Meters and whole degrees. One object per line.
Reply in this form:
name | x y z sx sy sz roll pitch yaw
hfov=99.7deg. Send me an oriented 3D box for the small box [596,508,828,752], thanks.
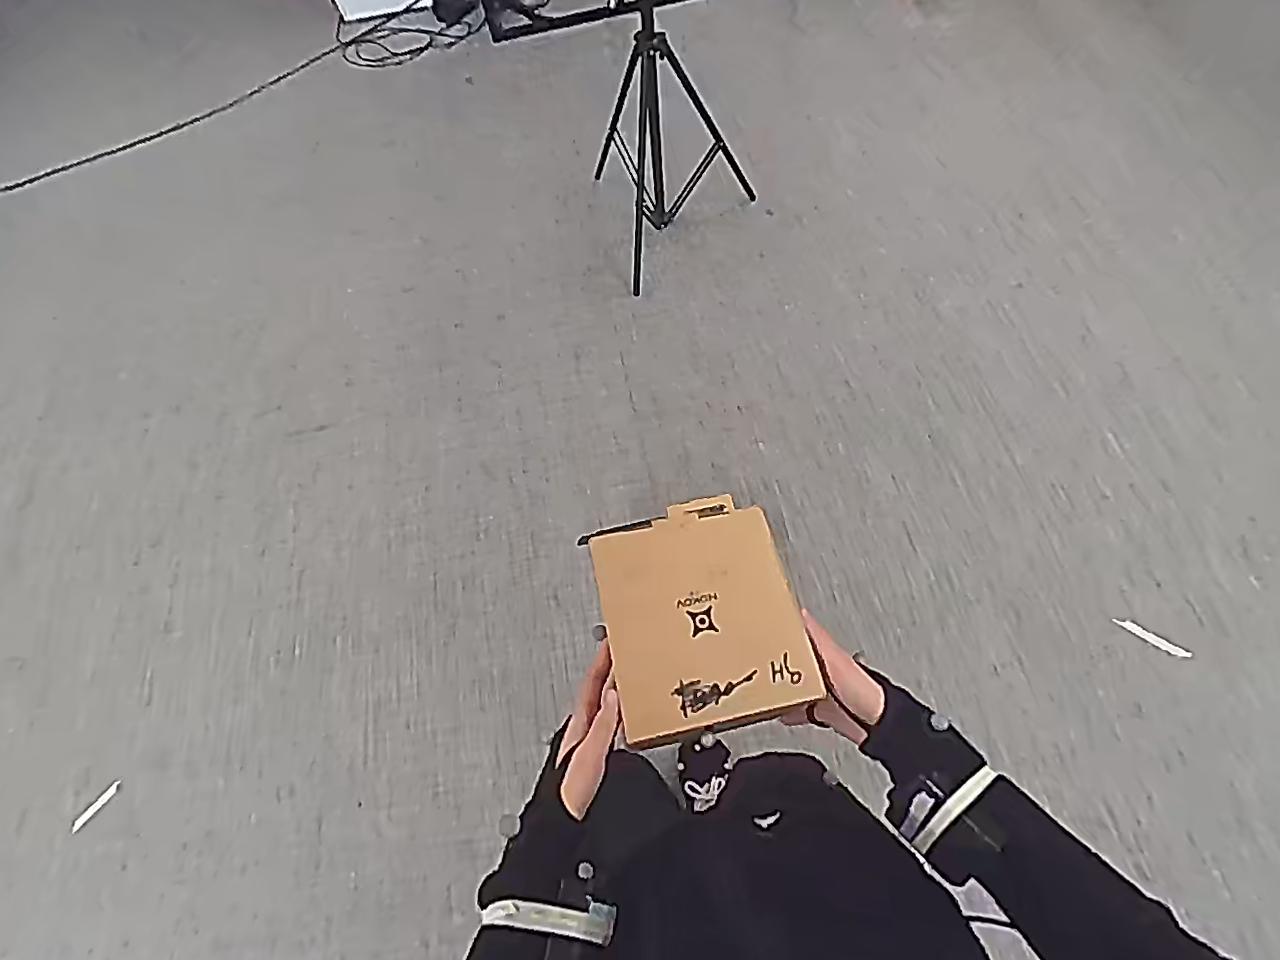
small box | 0.053 0.152 0.528 0.168 0.176 0.179 -10 62 -6
